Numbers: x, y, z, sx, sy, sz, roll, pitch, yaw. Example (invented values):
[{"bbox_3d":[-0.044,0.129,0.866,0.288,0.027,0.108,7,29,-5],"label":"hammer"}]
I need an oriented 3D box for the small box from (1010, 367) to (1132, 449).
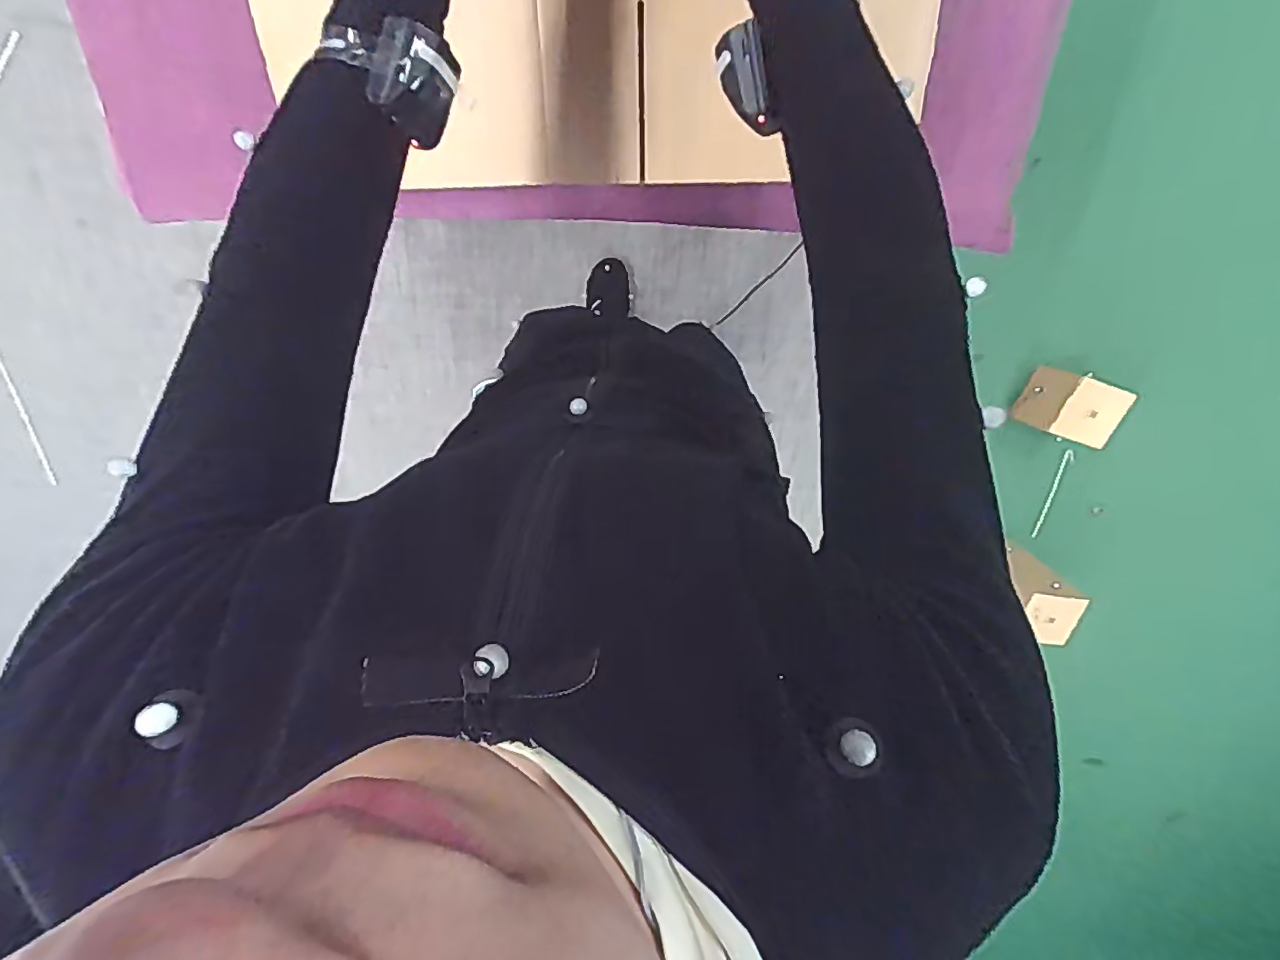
[{"bbox_3d":[1.227,-0.212,1.554,0.179,0.176,0.168,16,113,-7],"label":"small box"}]

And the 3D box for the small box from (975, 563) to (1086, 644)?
[{"bbox_3d":[1.164,0.368,1.626,0.179,0.176,0.168,8,113,-5],"label":"small box"}]
